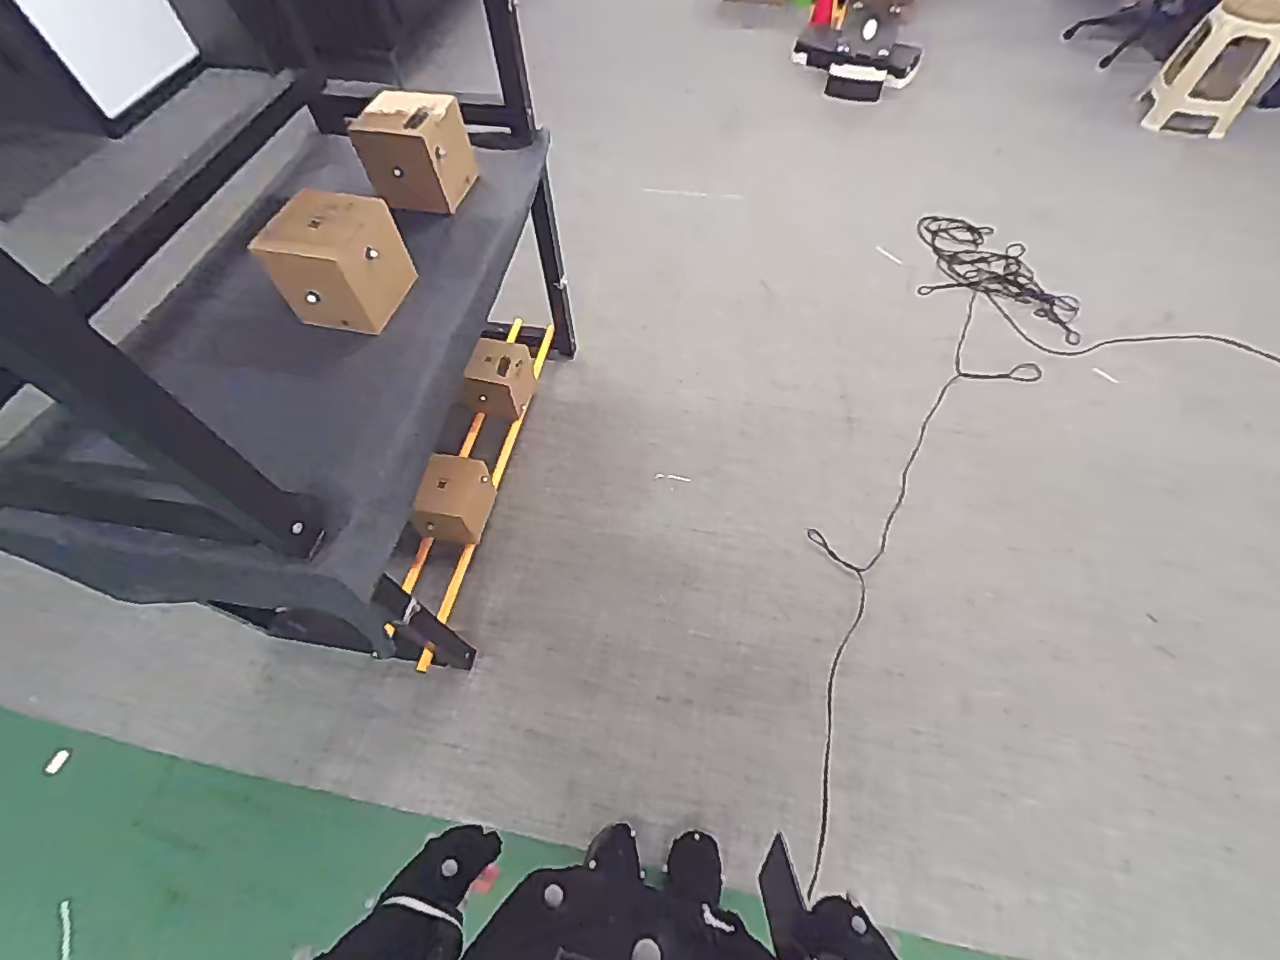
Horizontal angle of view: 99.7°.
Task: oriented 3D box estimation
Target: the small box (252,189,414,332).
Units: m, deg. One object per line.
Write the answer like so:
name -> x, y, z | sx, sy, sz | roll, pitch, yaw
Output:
small box -> -0.549, -0.400, 0.998 | 0.168, 0.176, 0.179 | 11, 60, 7

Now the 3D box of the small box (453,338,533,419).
small box -> -0.444, -0.310, 1.671 | 0.179, 0.176, 0.168 | 11, 59, 7
